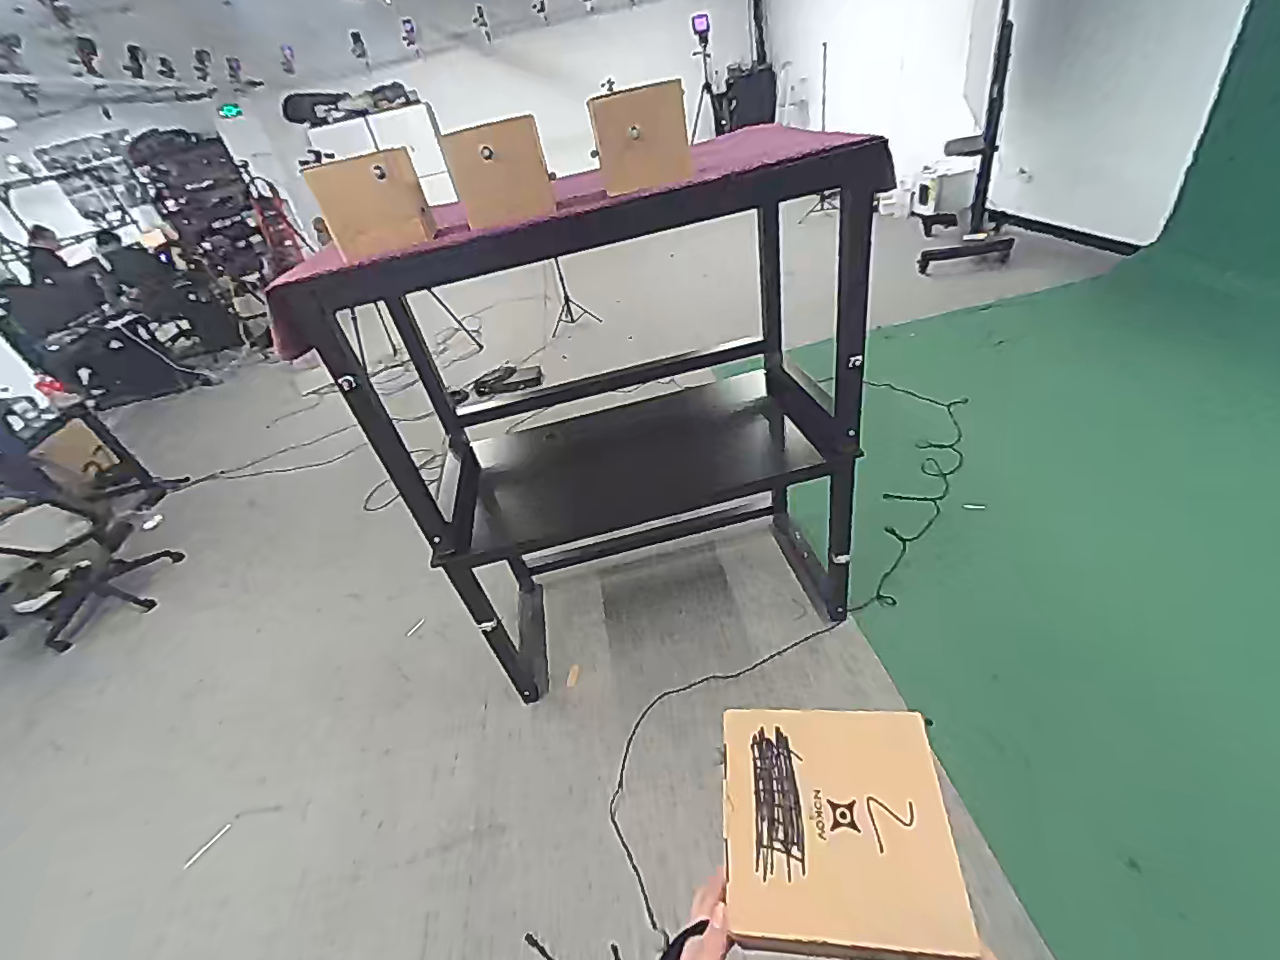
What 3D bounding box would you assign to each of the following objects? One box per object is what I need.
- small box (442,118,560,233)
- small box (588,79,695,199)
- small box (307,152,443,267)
[{"bbox_3d":[-0.273,-0.620,1.103,0.179,0.176,0.168,-13,36,1],"label":"small box"},{"bbox_3d":[0.002,-0.691,1.104,0.179,0.176,0.168,-14,36,2],"label":"small box"},{"bbox_3d":[-0.526,-0.549,1.099,0.179,0.176,0.168,-16,36,-3],"label":"small box"}]
